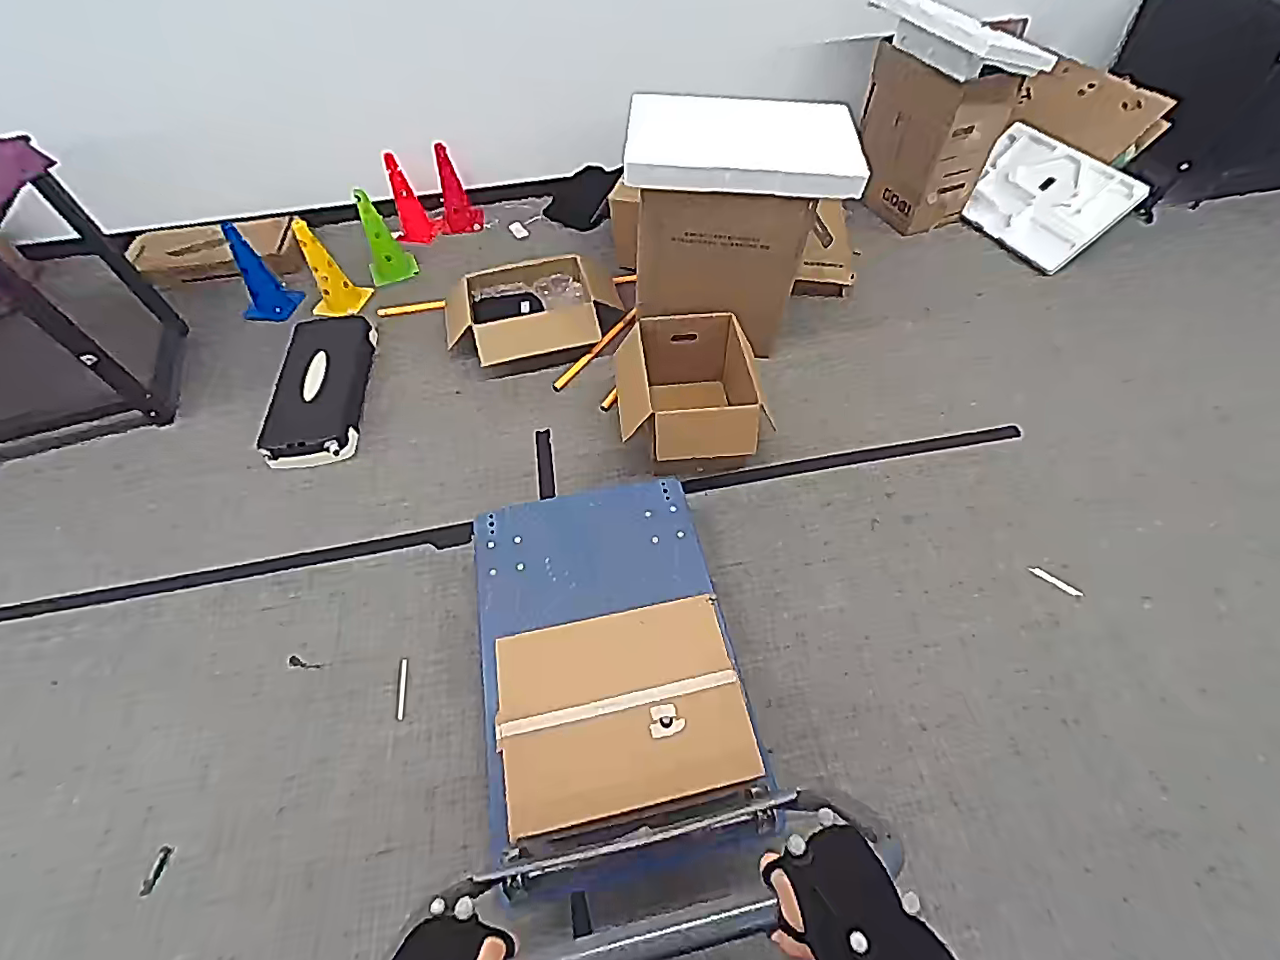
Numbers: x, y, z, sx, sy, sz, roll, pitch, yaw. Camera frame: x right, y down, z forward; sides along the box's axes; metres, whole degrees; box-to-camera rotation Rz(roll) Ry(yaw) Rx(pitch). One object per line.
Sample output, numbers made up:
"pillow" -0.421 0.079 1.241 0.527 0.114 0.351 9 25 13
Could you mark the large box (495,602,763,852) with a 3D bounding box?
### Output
"large box" -0.033 0.471 1.025 0.408 0.320 0.320 -10 57 -7
